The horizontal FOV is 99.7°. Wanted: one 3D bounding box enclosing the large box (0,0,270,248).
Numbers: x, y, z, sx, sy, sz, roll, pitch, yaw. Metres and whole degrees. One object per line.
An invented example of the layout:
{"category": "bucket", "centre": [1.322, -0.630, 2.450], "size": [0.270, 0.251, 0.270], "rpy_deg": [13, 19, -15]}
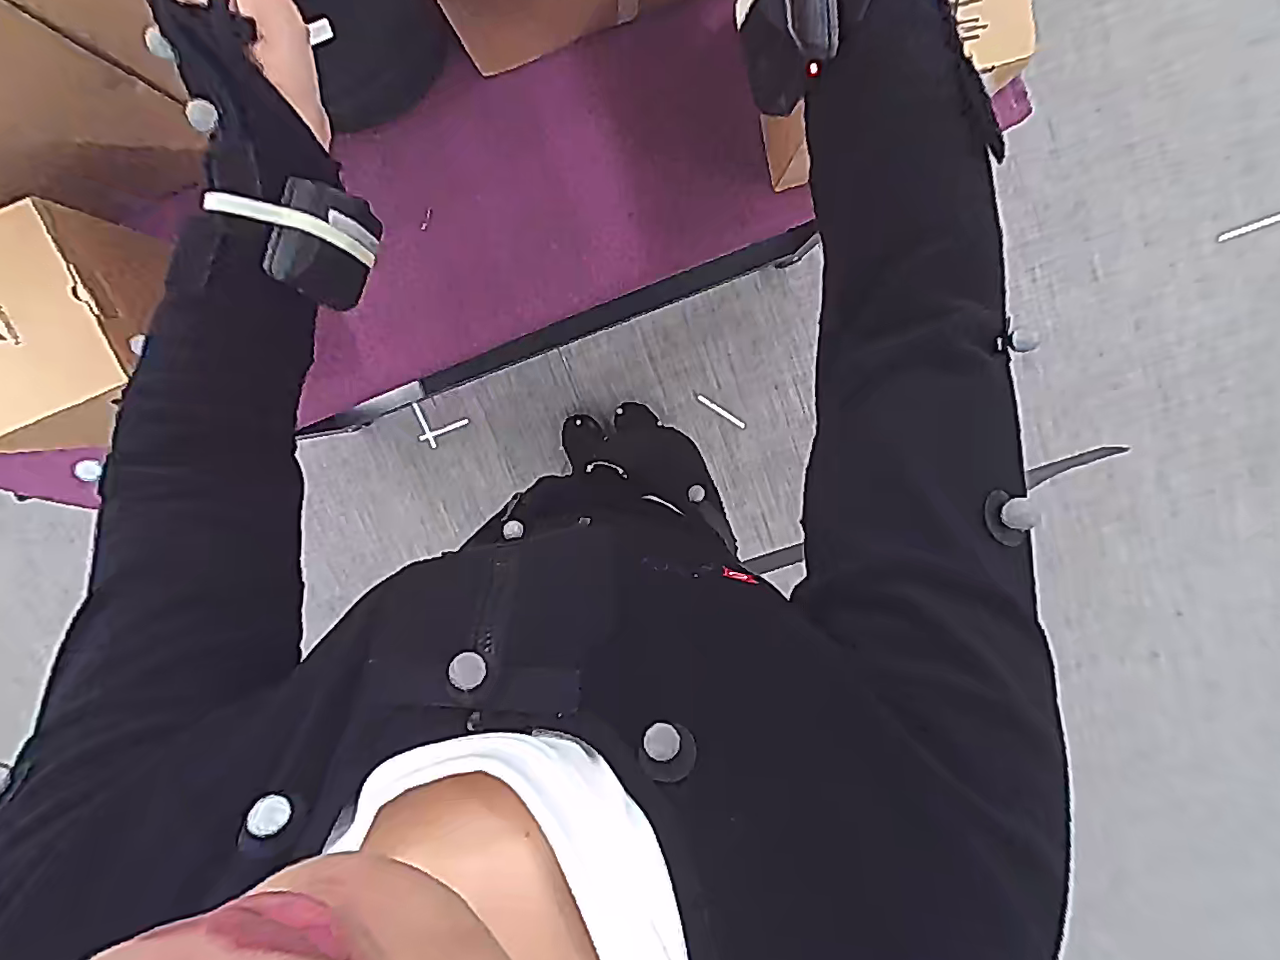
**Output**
{"category": "large box", "centre": [-0.612, -0.463, 0.424], "size": [0.320, 0.320, 0.408], "rpy_deg": [-20, 102, 5]}
